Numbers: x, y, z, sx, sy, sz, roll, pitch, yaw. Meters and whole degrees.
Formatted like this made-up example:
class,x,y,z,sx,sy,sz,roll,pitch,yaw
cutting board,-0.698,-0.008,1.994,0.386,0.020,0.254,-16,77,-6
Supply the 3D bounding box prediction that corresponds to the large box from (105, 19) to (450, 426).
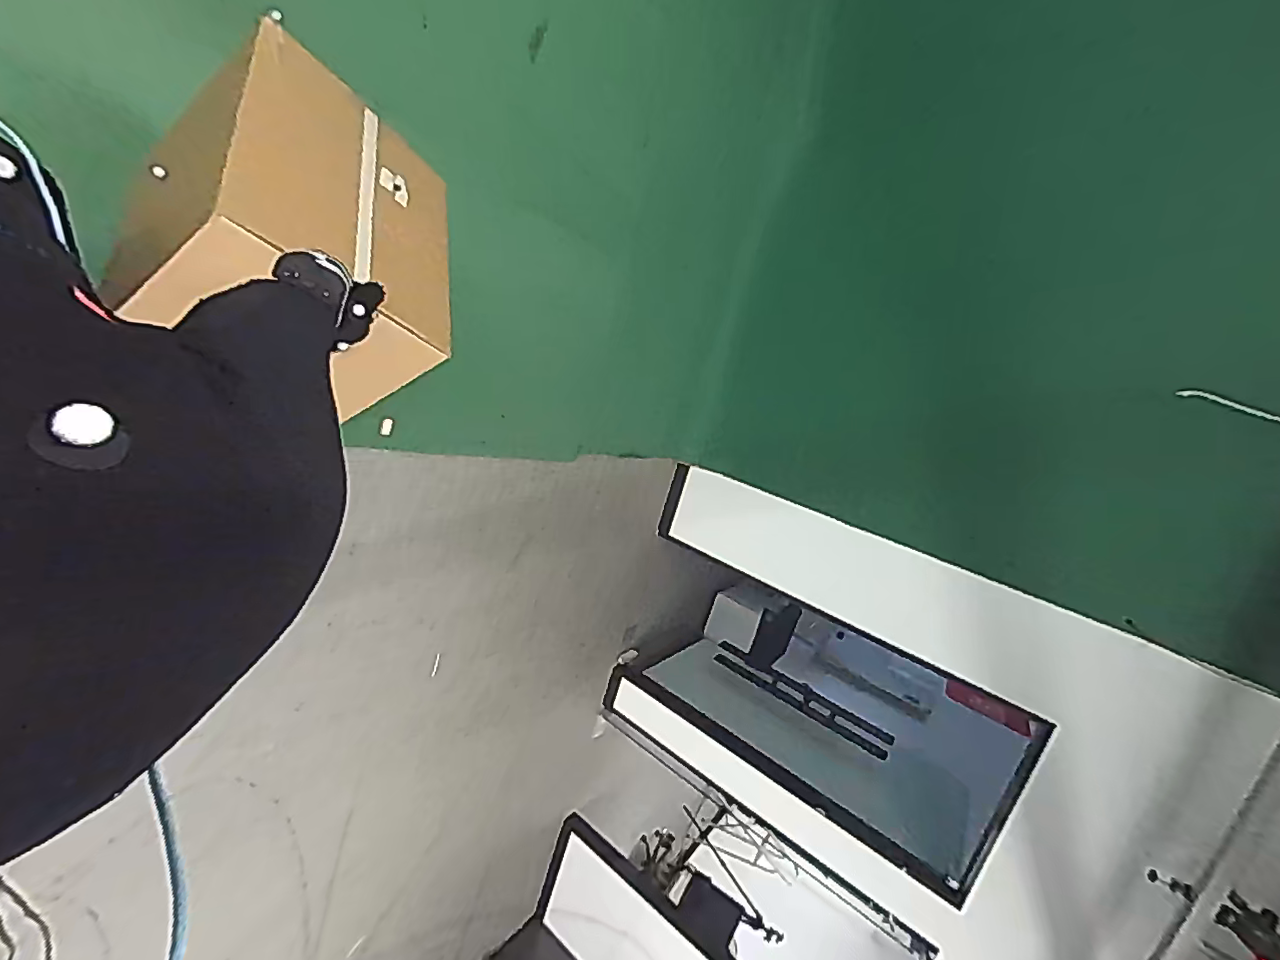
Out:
class,x,y,z,sx,sy,sz,roll,pitch,yaw
large box,-0.527,-0.357,0.837,0.320,0.320,0.408,31,42,-55
